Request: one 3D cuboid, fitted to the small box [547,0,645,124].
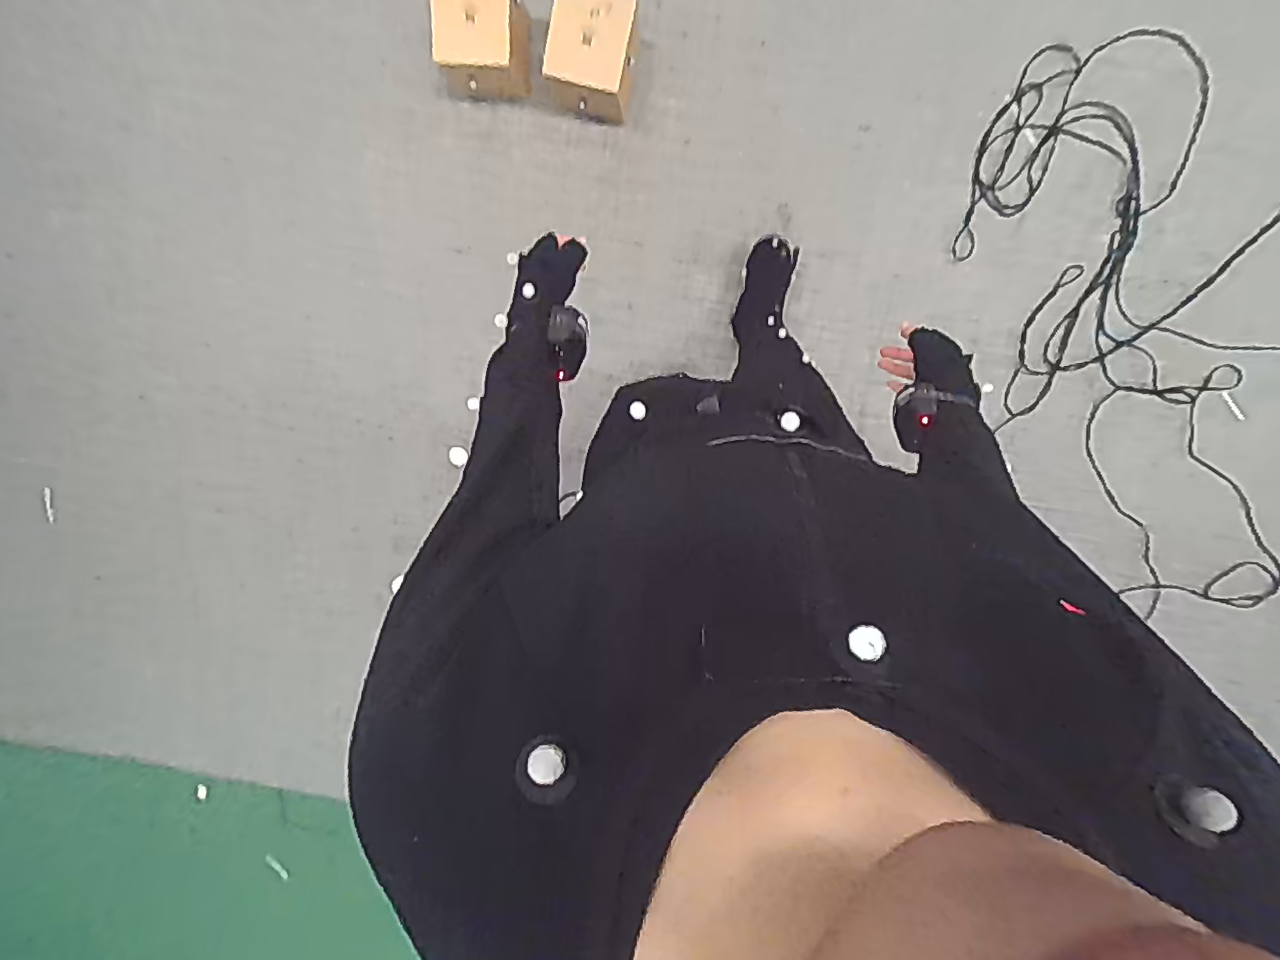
[{"bbox_3d":[-0.088,-0.914,1.177,0.168,0.176,0.179,15,104,0],"label":"small box"}]

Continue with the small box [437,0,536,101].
[{"bbox_3d":[-0.329,-0.963,1.184,0.168,0.176,0.179,4,103,3],"label":"small box"}]
